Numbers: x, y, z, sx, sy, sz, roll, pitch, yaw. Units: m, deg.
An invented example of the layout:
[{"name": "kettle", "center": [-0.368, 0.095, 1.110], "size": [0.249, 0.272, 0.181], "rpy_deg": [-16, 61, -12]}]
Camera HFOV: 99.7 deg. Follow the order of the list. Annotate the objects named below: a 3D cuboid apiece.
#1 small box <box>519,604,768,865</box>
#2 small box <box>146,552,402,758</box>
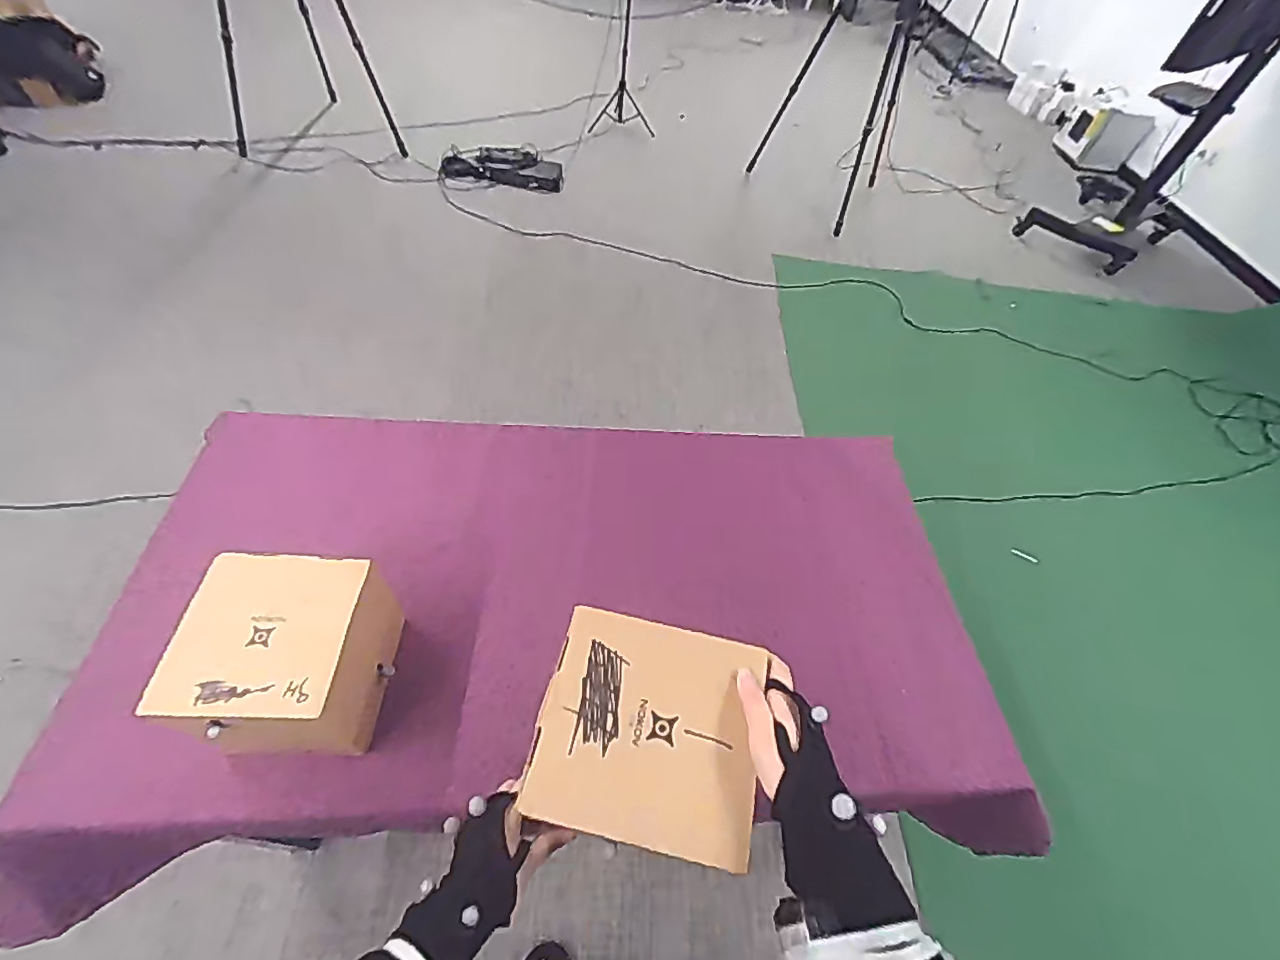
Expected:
[{"name": "small box", "center": [0.006, 0.239, 0.505], "size": [0.179, 0.176, 0.168], "rpy_deg": [13, 57, 4]}, {"name": "small box", "center": [-0.393, 0.205, 0.627], "size": [0.168, 0.176, 0.179], "rpy_deg": [4, 52, -4]}]
